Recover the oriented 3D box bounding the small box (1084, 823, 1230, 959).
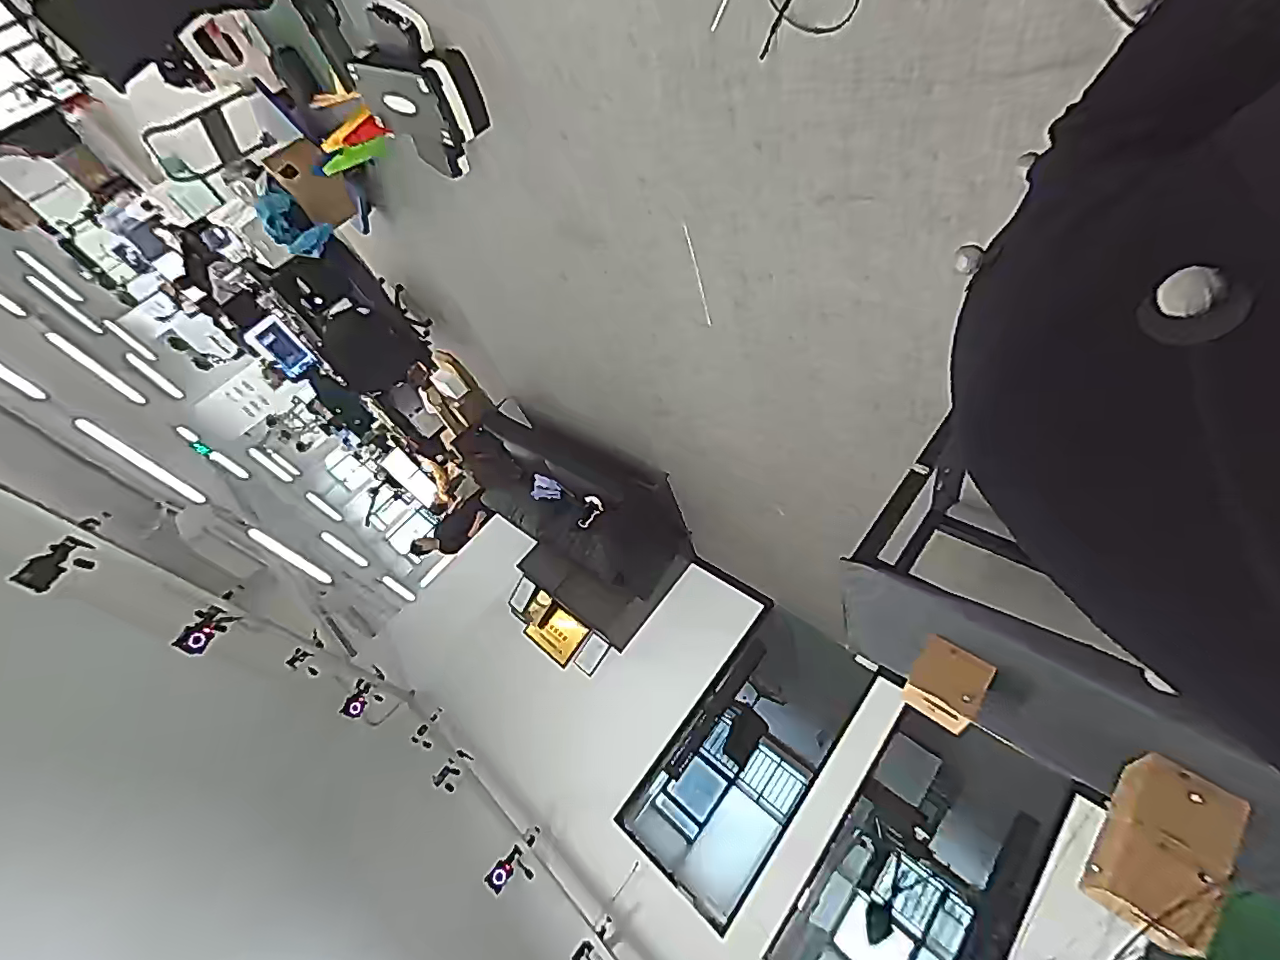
[{"bbox_3d":[1.117,0.879,1.172,0.168,0.176,0.179,29,158,34],"label":"small box"}]

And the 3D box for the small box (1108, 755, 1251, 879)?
[{"bbox_3d":[1.218,0.761,1.224,0.168,0.176,0.179,27,156,35],"label":"small box"}]
